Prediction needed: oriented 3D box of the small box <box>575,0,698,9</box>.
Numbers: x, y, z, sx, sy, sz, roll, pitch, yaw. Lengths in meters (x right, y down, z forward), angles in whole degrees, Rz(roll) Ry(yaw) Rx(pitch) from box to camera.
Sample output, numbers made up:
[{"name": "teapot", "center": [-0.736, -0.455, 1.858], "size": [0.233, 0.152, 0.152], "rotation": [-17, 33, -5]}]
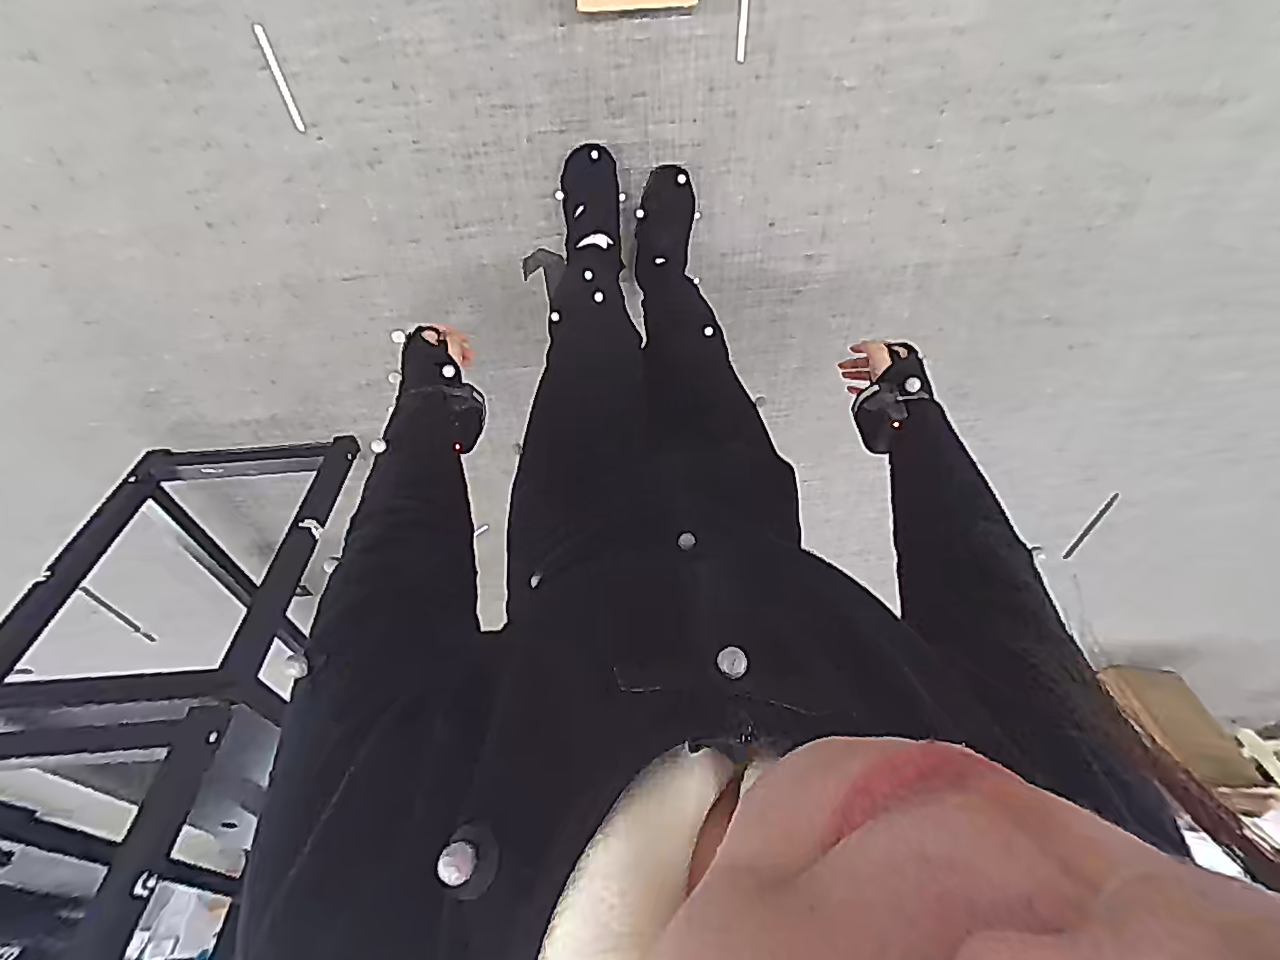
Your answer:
[{"name": "small box", "center": [-0.013, -0.780, 0.755], "size": [0.179, 0.176, 0.168], "rotation": [-4, 136, -2]}]
